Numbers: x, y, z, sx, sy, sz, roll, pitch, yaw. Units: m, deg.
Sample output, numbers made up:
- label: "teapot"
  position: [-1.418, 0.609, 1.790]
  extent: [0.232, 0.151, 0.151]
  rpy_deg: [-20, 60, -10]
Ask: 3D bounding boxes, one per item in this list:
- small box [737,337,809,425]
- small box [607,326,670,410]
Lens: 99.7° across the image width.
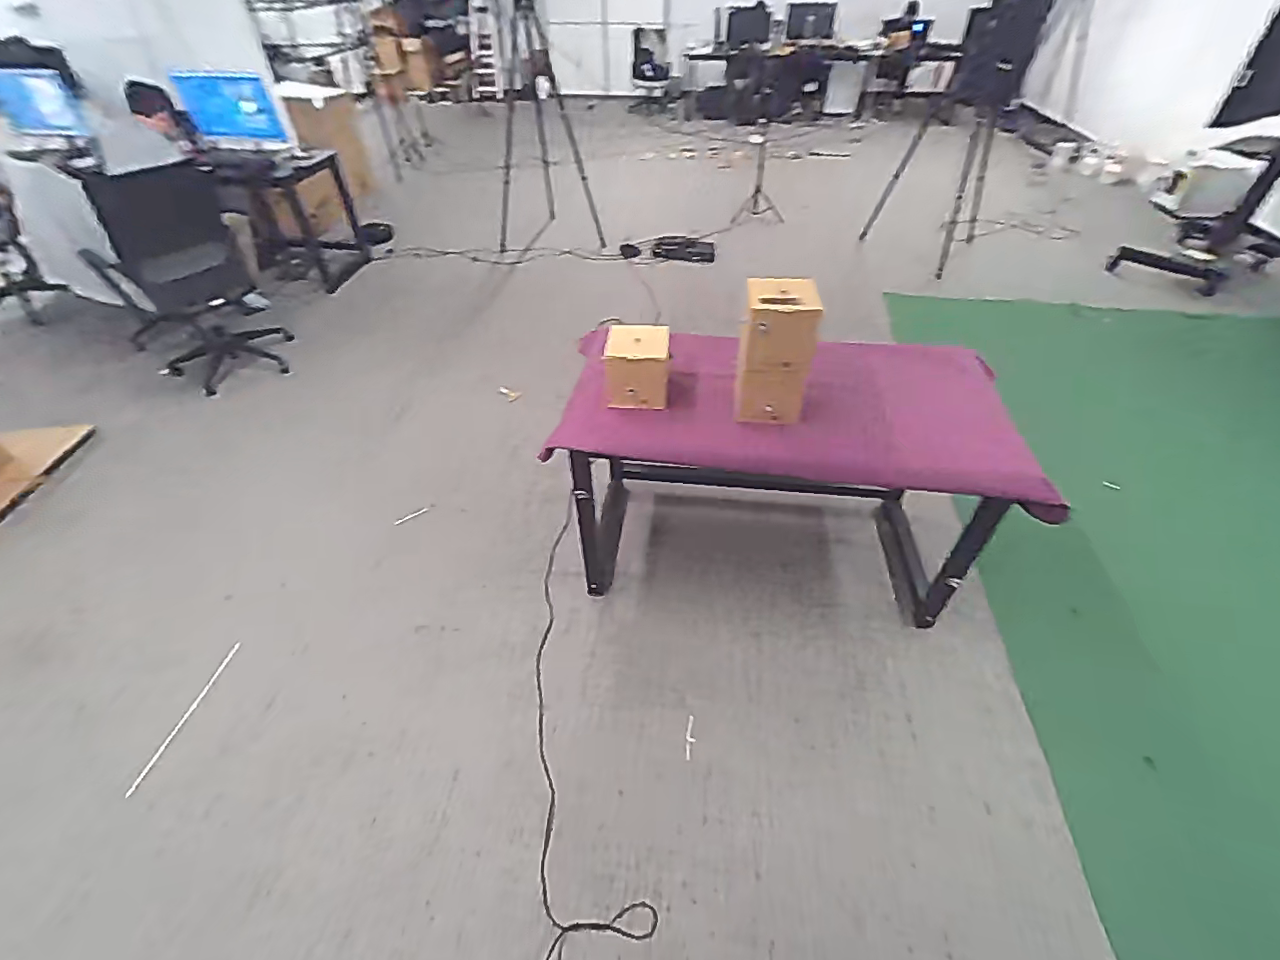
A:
- label: "small box"
  position: [0.354, -0.271, 1.474]
  extent: [0.168, 0.176, 0.179]
  rpy_deg: [4, 44, 6]
- label: "small box"
  position: [-0.001, -0.319, 1.535]
  extent: [0.168, 0.176, 0.179]
  rpy_deg: [2, 44, 3]
